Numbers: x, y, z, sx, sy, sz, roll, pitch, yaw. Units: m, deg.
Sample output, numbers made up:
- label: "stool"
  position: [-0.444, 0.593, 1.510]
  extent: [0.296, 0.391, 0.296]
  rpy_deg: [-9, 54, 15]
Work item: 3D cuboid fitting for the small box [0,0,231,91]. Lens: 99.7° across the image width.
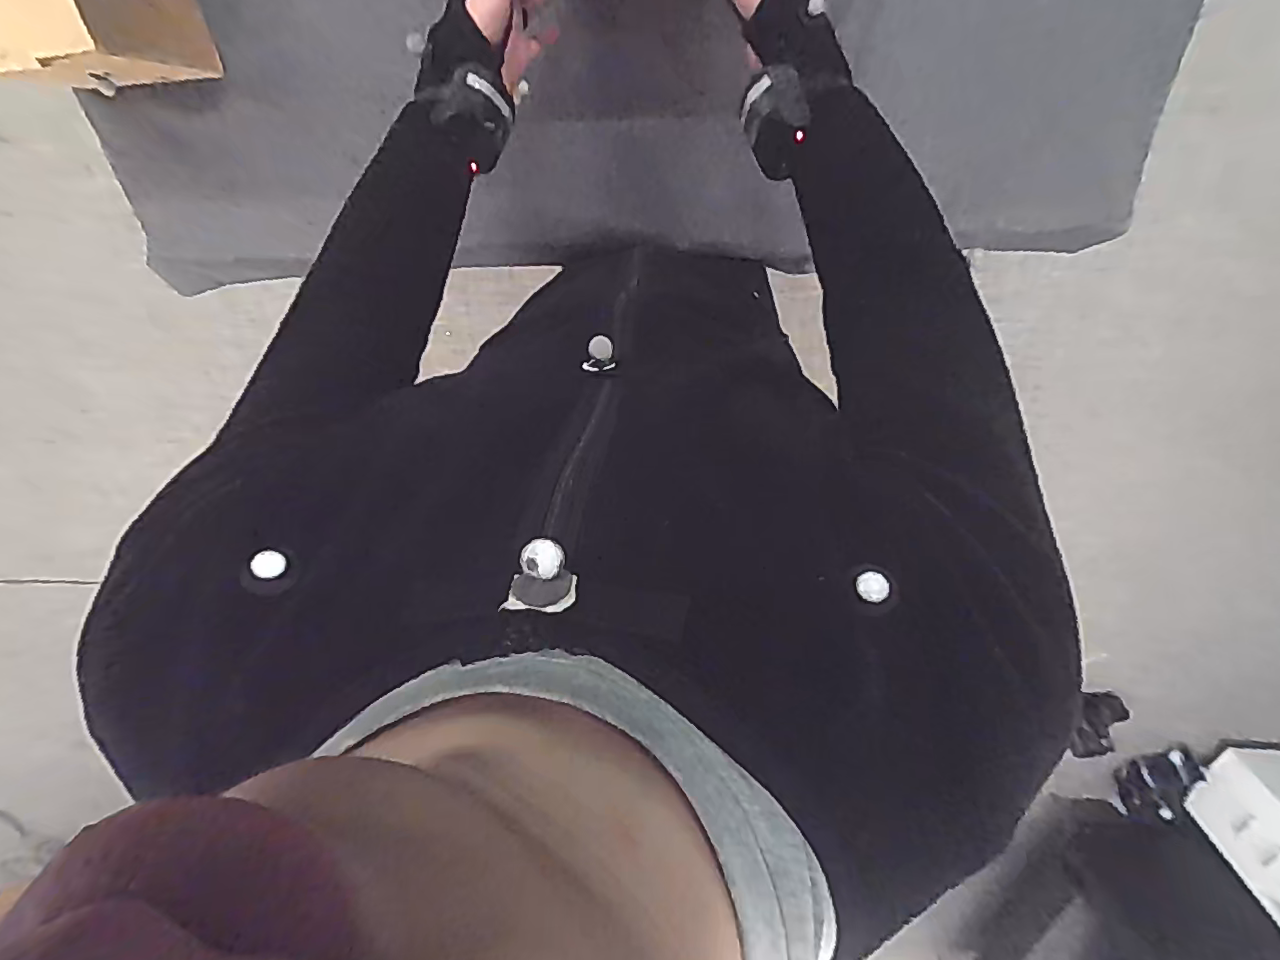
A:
- label: "small box"
  position: [-0.538, -0.473, 0.501]
  extent: [0.168, 0.176, 0.179]
  rpy_deg: [-3, 122, 2]
